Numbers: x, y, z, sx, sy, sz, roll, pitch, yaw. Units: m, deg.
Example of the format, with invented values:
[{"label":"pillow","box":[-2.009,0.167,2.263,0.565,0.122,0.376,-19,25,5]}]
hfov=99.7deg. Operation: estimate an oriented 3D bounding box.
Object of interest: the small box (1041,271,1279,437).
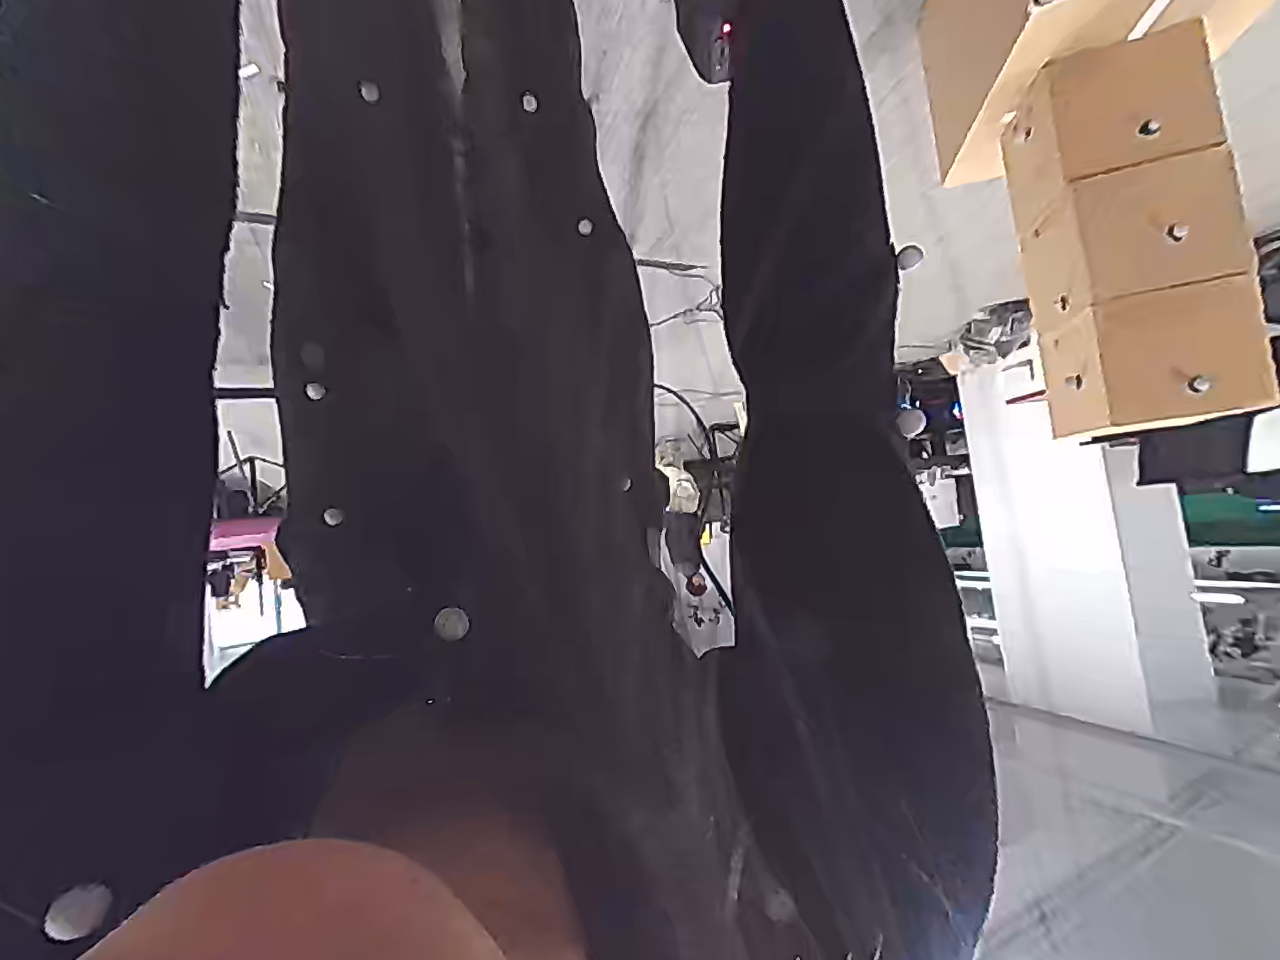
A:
[{"label":"small box","box":[0.696,-0.164,0.749,0.179,0.176,0.168,-8,176,15]}]

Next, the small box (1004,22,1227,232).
[{"label":"small box","box":[0.652,-0.488,0.766,0.179,0.176,0.168,-8,176,15]}]

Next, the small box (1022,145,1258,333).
[{"label":"small box","box":[0.676,-0.326,0.755,0.179,0.176,0.168,-9,176,15]}]

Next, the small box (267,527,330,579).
[{"label":"small box","box":[-1.257,0.266,1.995,0.179,0.176,0.168,-4,174,-28]}]
